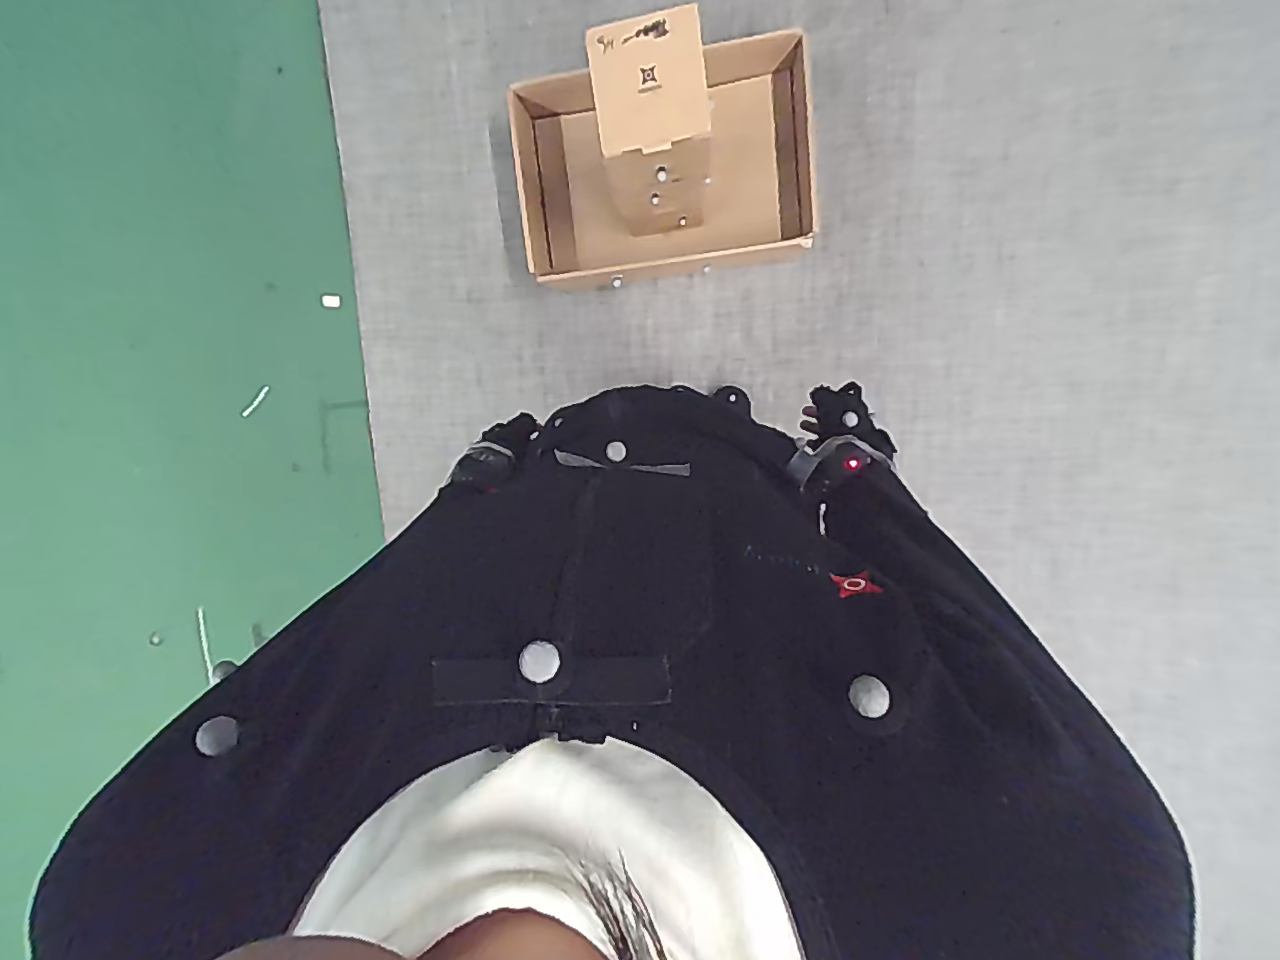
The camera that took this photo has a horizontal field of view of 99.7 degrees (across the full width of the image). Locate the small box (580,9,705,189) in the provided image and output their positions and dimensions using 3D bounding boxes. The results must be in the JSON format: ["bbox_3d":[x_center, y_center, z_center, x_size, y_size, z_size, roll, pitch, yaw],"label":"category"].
[{"bbox_3d":[0.014,-0.601,0.884,0.168,0.176,0.179,-9,99,9],"label":"small box"}]

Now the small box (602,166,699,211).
[{"bbox_3d":[0.021,-0.636,1.041,0.179,0.176,0.168,-4,99,8],"label":"small box"}]

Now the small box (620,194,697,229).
[{"bbox_3d":[0.037,-0.667,1.185,0.168,0.176,0.179,-6,98,7],"label":"small box"}]
